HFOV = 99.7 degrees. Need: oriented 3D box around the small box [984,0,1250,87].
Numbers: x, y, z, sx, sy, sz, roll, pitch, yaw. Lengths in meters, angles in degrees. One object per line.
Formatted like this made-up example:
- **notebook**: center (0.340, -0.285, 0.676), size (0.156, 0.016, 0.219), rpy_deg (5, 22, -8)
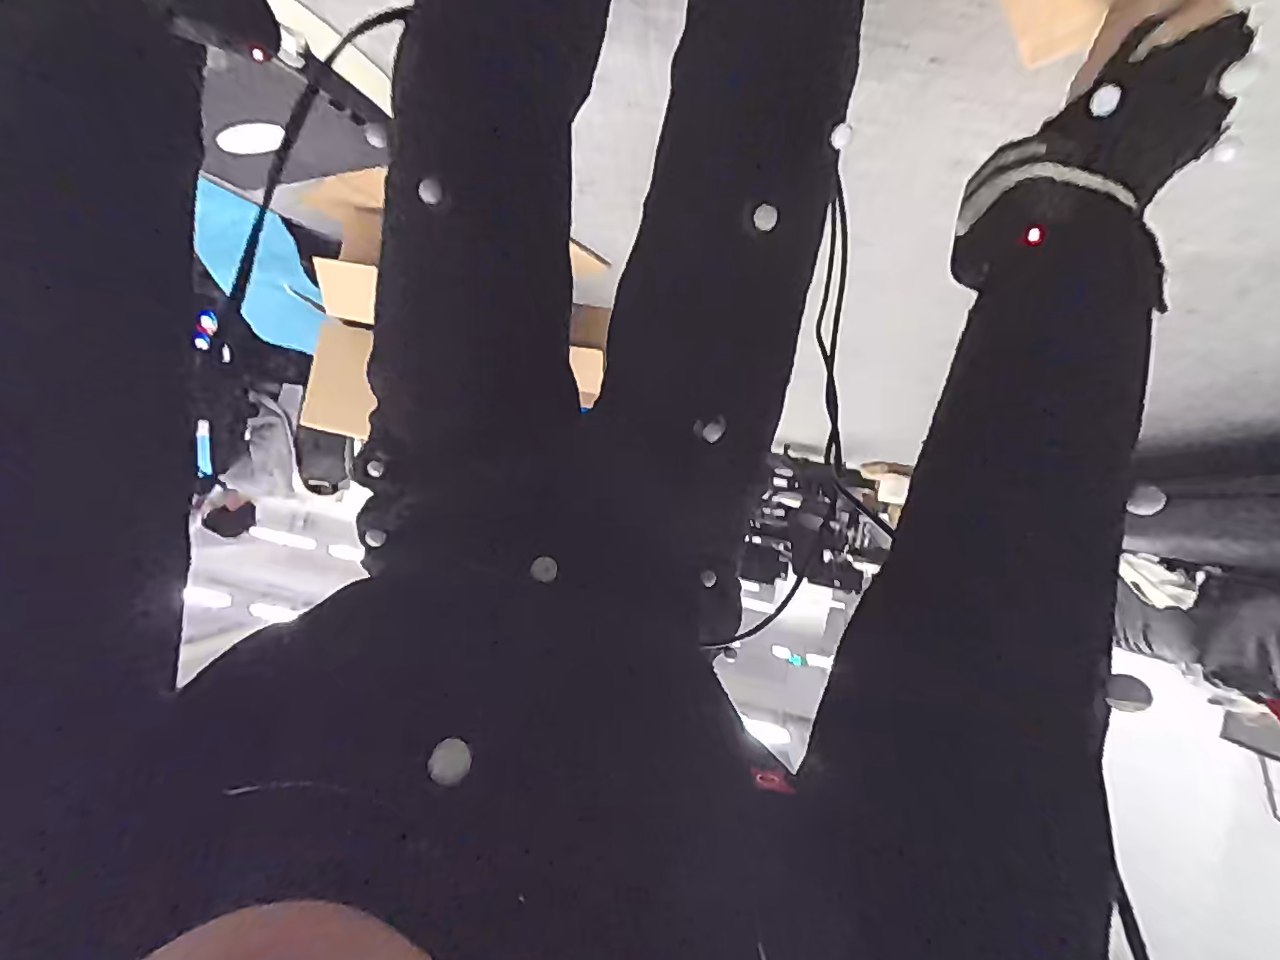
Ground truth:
- **small box**: center (0.312, -0.394, 0.309), size (0.176, 0.179, 0.168), rpy_deg (35, 172, -32)
